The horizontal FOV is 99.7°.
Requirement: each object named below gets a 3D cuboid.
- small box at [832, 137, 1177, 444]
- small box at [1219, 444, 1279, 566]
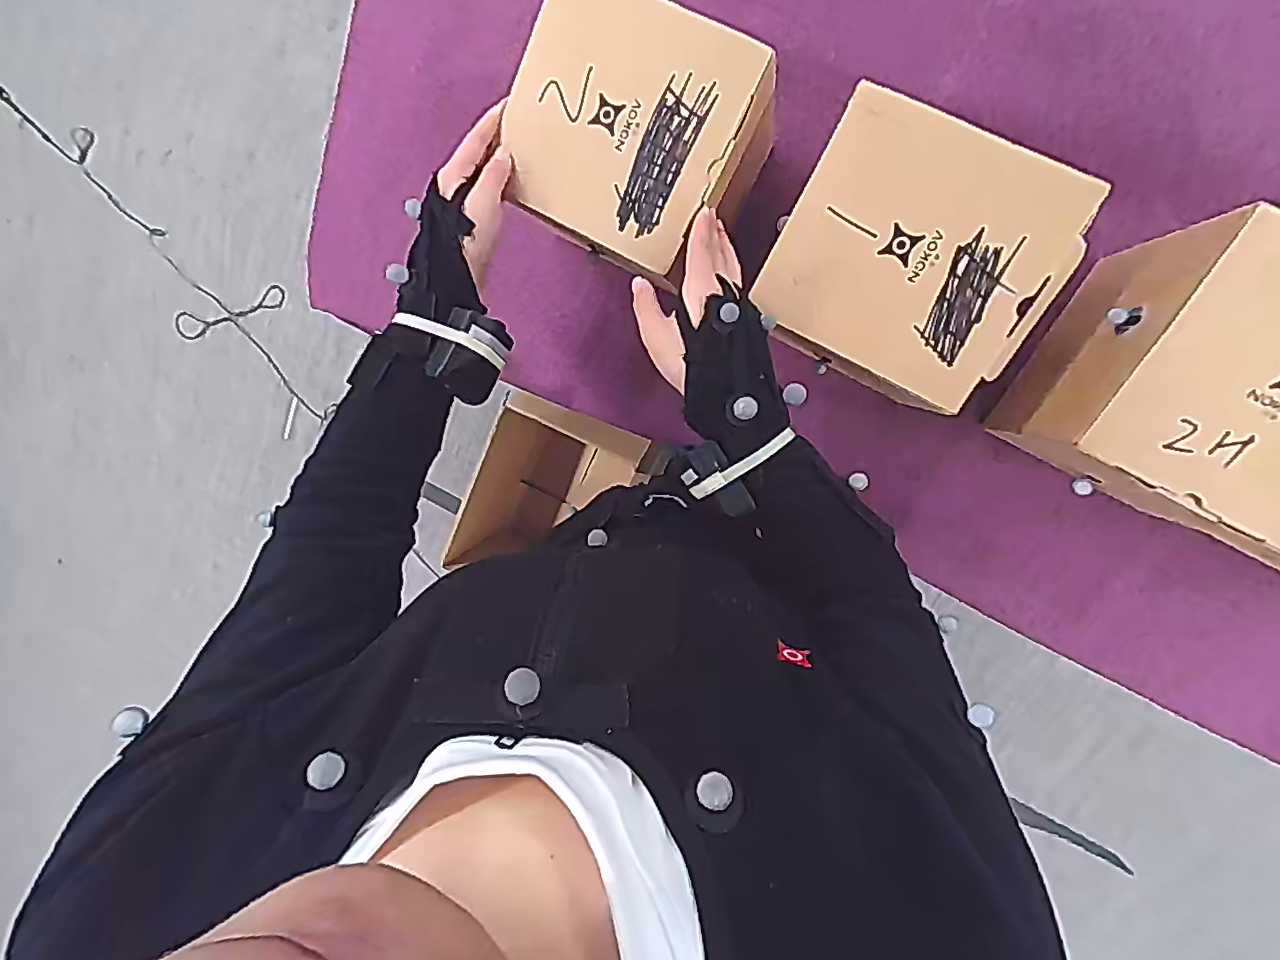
[{"bbox_3d":[0.256,-0.149,0.429,0.179,0.176,0.168,10,143,16],"label":"small box"},{"bbox_3d":[0.611,0.022,0.392,0.168,0.176,0.179,30,105,6],"label":"small box"}]
